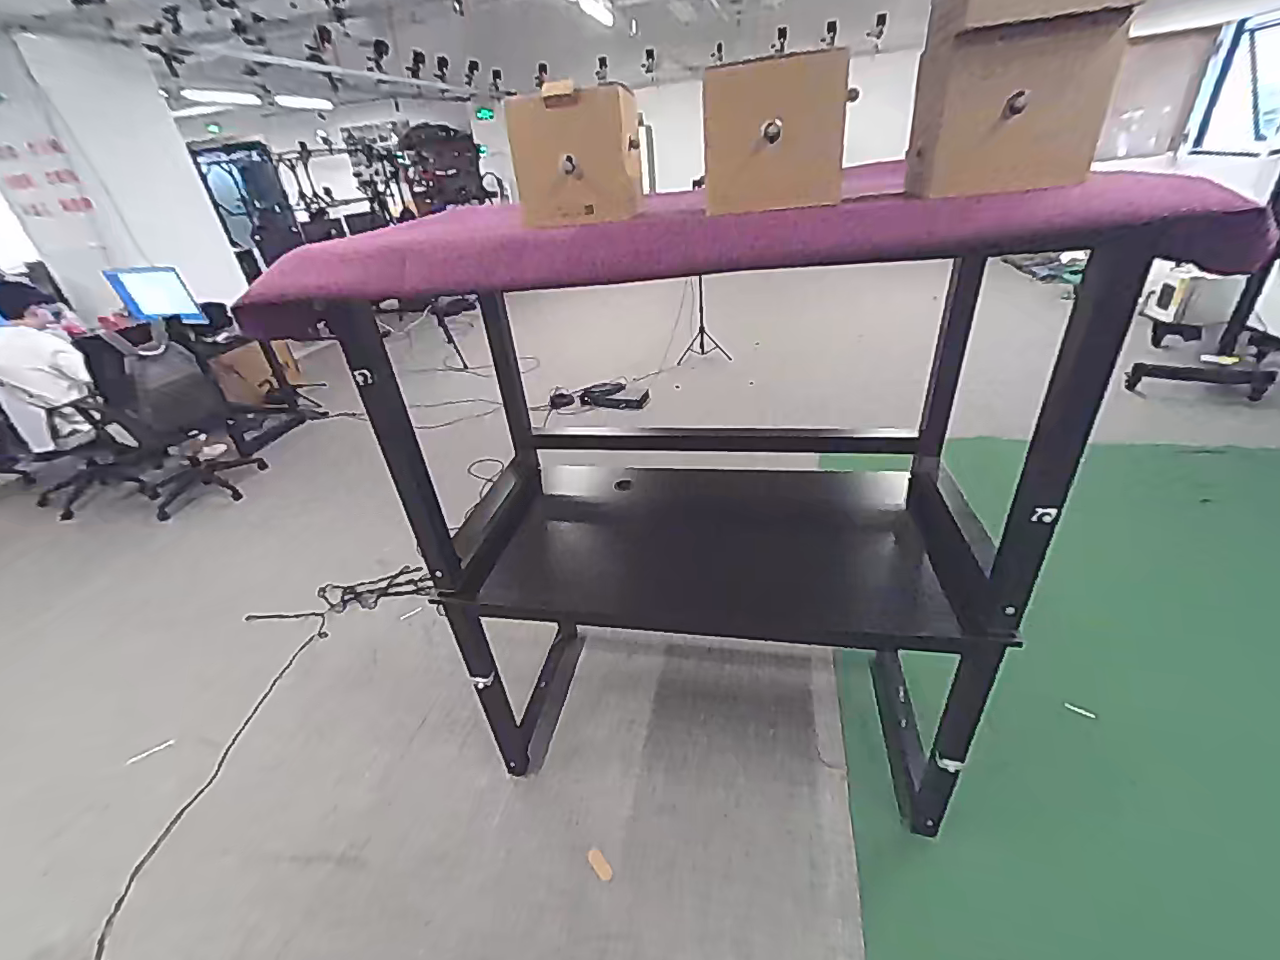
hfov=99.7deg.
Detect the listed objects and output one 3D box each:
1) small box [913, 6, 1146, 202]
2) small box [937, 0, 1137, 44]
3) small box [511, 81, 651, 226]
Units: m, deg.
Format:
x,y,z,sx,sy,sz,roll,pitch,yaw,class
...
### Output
x,y,z,sx,sy,sz,roll,pitch,yaw,class
0.465,-0.461,0.683,0.179,0.176,0.168,1,32,14,small box
0.446,-0.590,0.580,0.179,0.176,0.168,1,31,13,small box
-0.077,-0.493,0.832,0.168,0.176,0.179,0,31,9,small box
